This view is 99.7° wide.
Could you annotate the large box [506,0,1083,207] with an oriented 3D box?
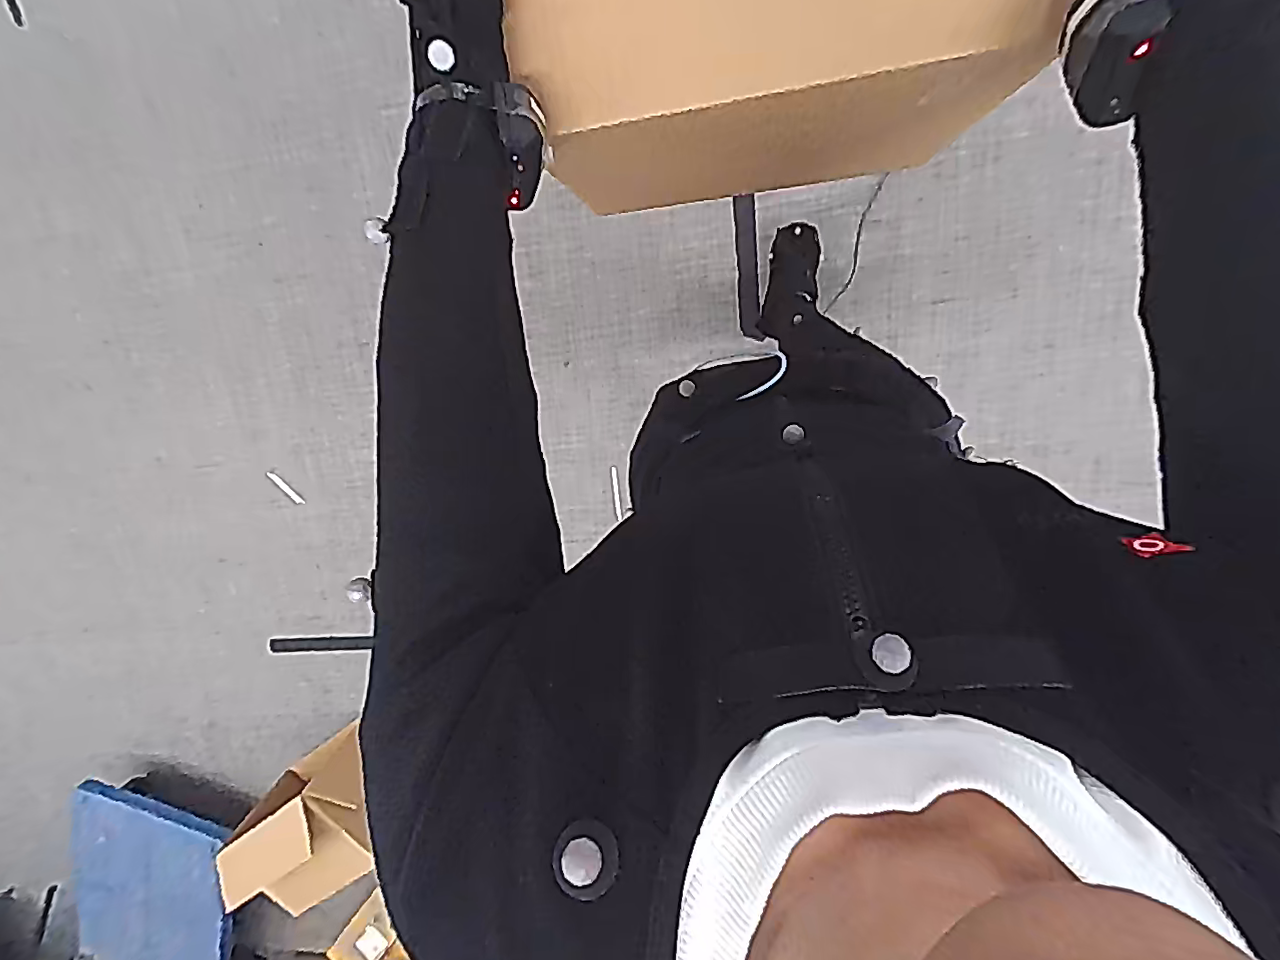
[{"bbox_3d":[0.102,-0.480,0.497,0.408,0.320,0.320,-5,106,9],"label":"large box"}]
